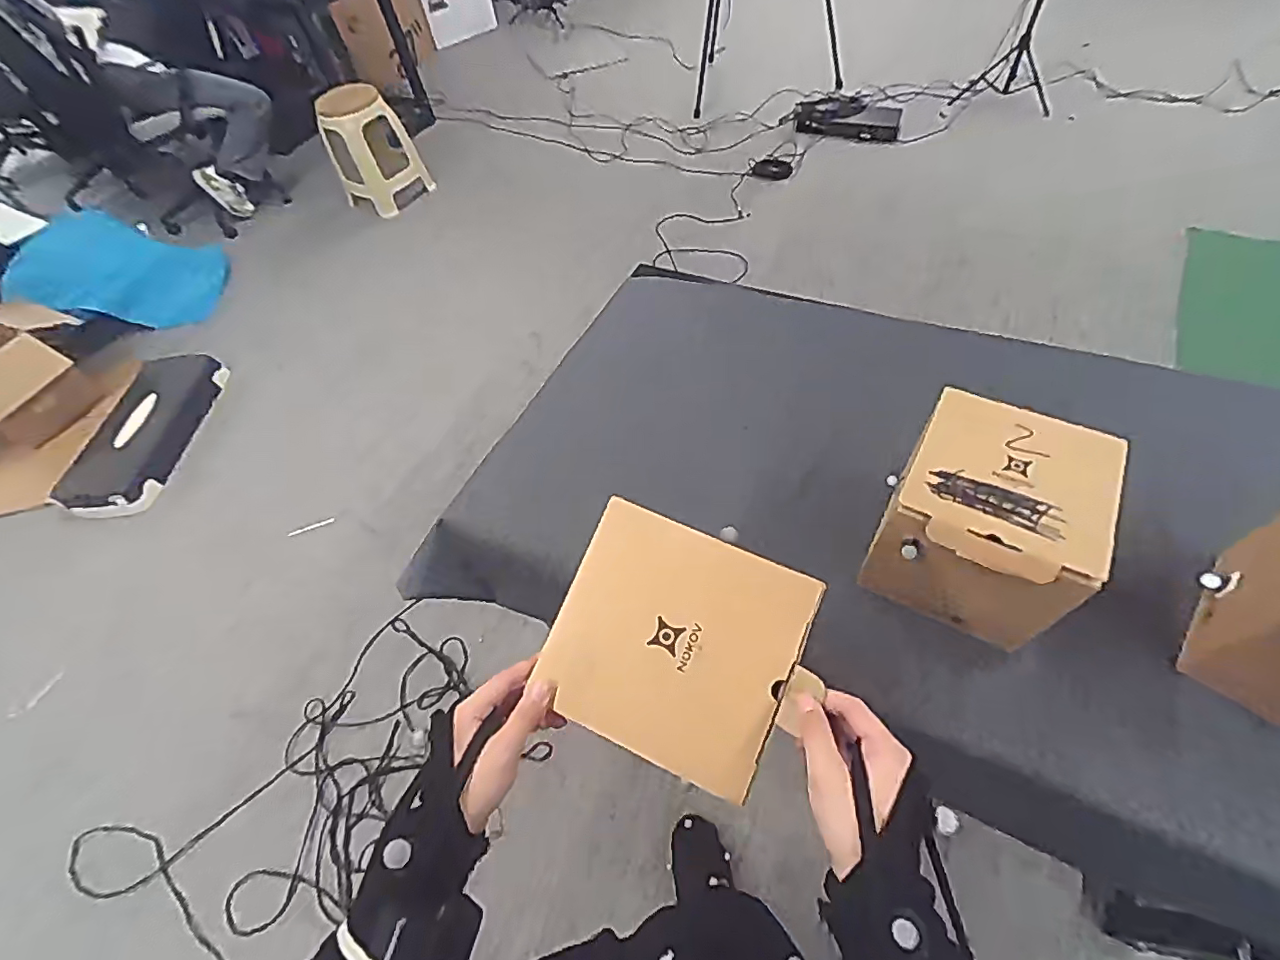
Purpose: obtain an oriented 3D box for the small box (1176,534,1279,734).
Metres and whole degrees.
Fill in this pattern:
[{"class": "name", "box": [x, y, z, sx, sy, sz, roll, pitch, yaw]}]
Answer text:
[{"class": "small box", "box": [0.645, 0.142, 0.471, 0.179, 0.176, 0.168, 34, 64, 28]}]
